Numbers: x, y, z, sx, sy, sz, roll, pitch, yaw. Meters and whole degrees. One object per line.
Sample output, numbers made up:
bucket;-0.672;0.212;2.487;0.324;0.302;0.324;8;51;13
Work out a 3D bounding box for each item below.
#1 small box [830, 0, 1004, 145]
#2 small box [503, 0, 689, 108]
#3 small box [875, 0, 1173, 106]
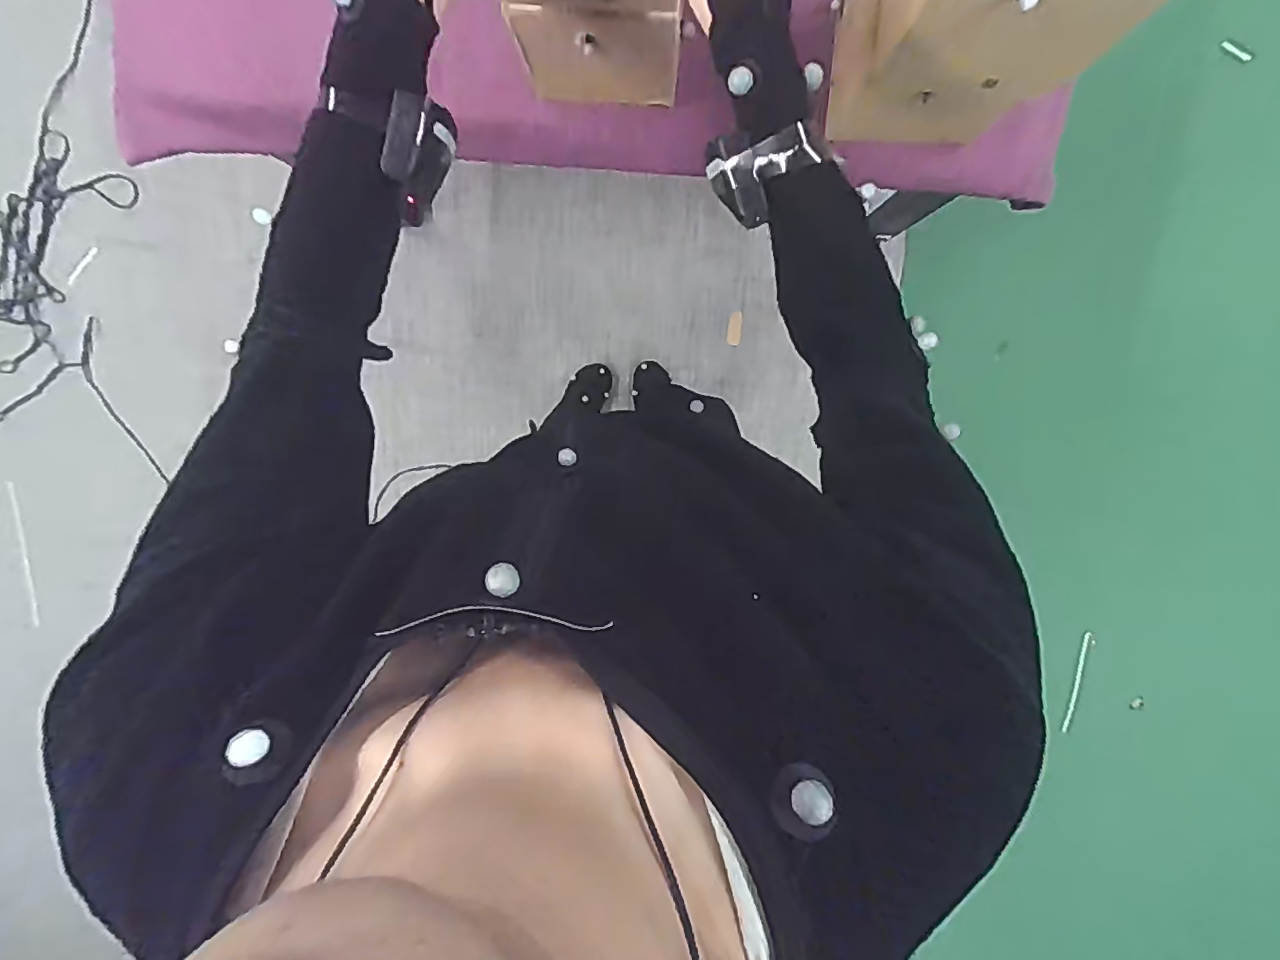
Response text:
small box;0.318;-0.485;0.583;0.179;0.176;0.168;3;101;3
small box;-0.036;-0.542;0.595;0.179;0.176;0.168;6;100;2
small box;0.305;-0.438;0.425;0.168;0.176;0.179;6;100;3
